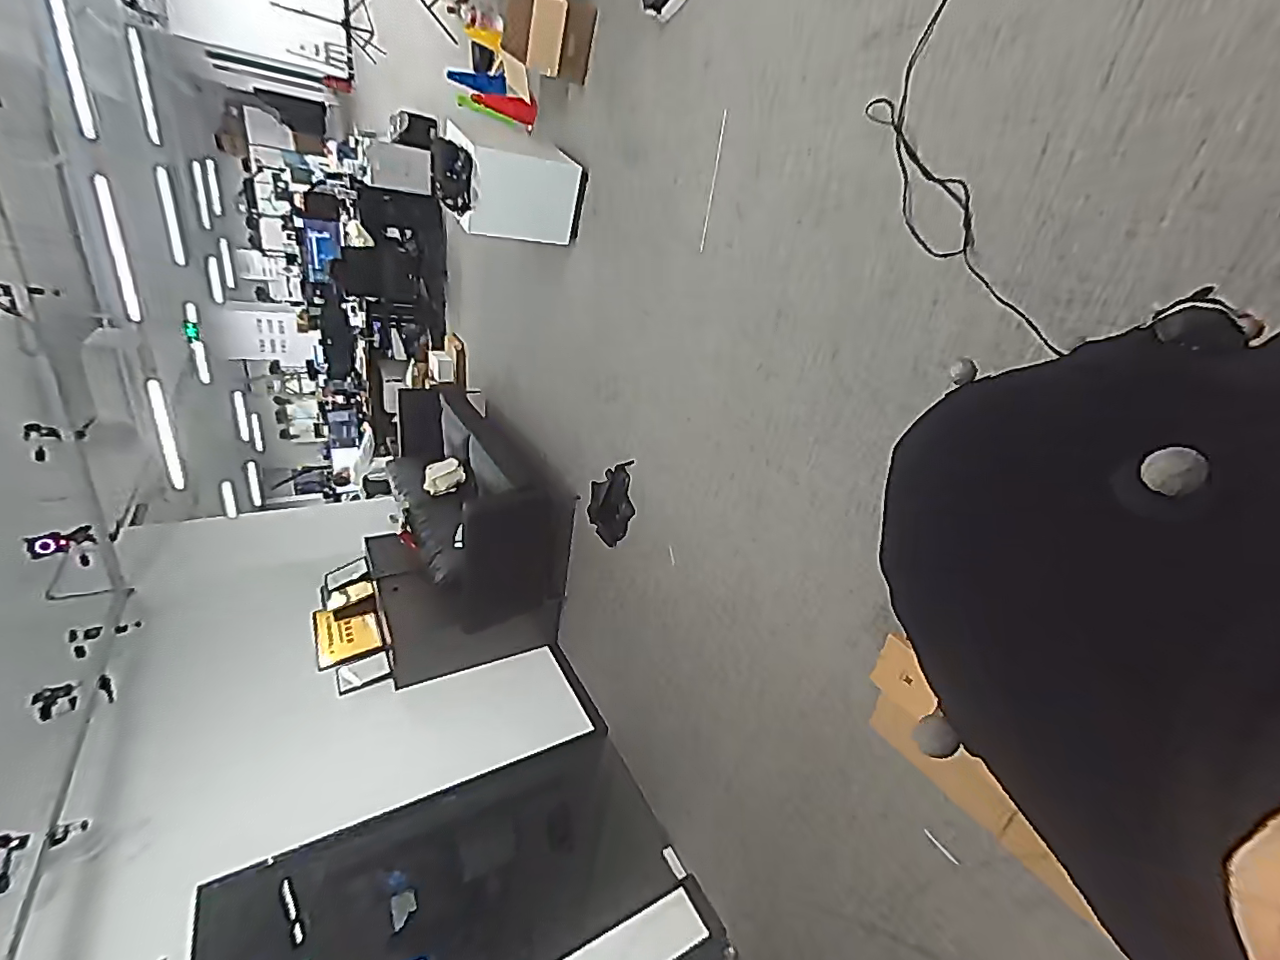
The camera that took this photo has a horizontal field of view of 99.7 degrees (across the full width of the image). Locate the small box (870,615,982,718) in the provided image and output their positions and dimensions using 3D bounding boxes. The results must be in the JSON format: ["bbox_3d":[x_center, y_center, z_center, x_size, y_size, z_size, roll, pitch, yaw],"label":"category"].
[{"bbox_3d":[0.749,0.478,1.415,0.179,0.176,0.168,42,131,48],"label":"small box"}]
